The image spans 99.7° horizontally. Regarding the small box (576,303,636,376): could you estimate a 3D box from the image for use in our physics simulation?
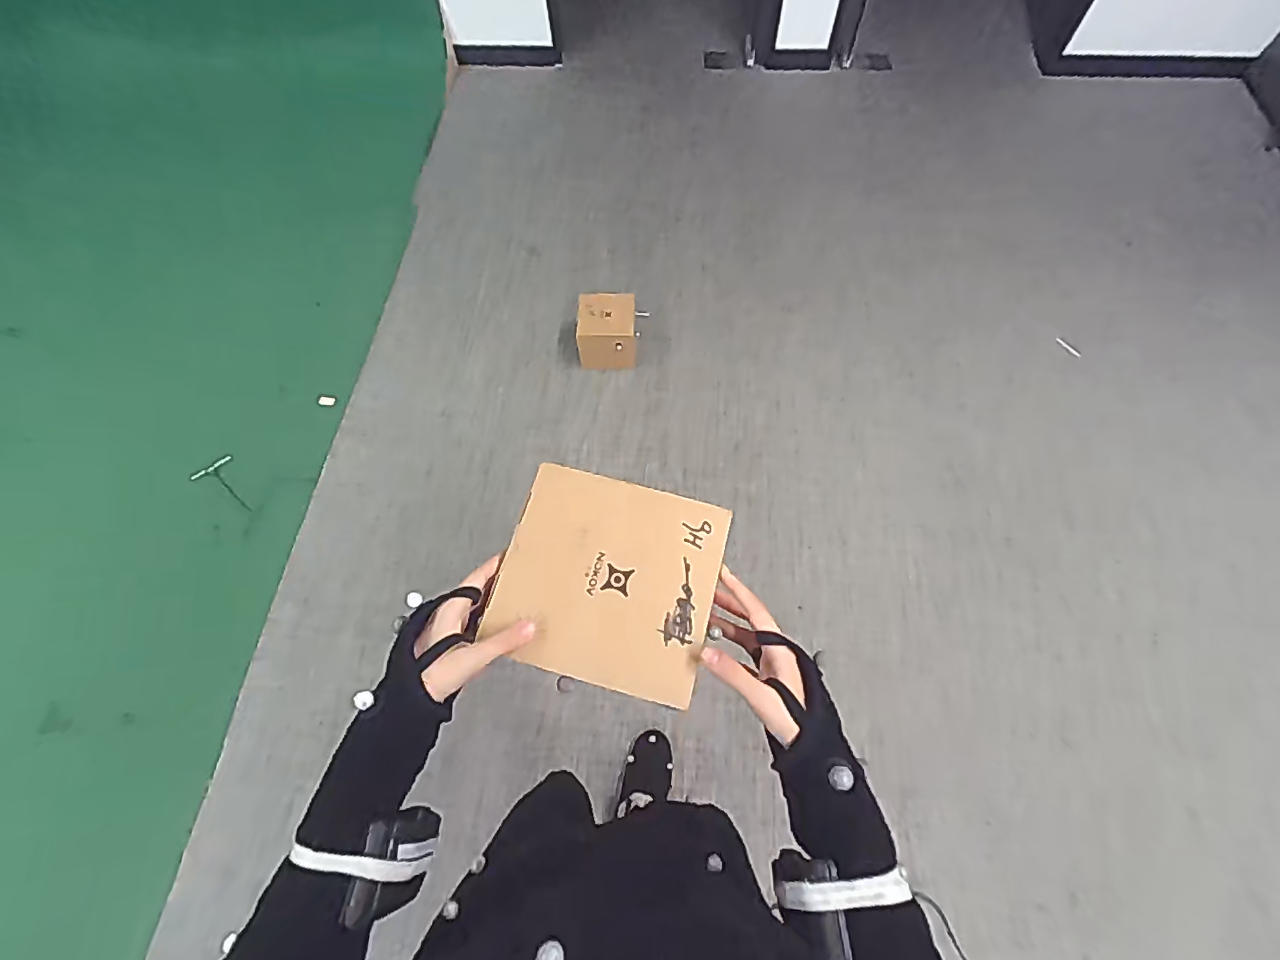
[{"bbox_3d":[-0.103,-0.447,1.737,0.179,0.176,0.168,1,64,3],"label":"small box"}]
